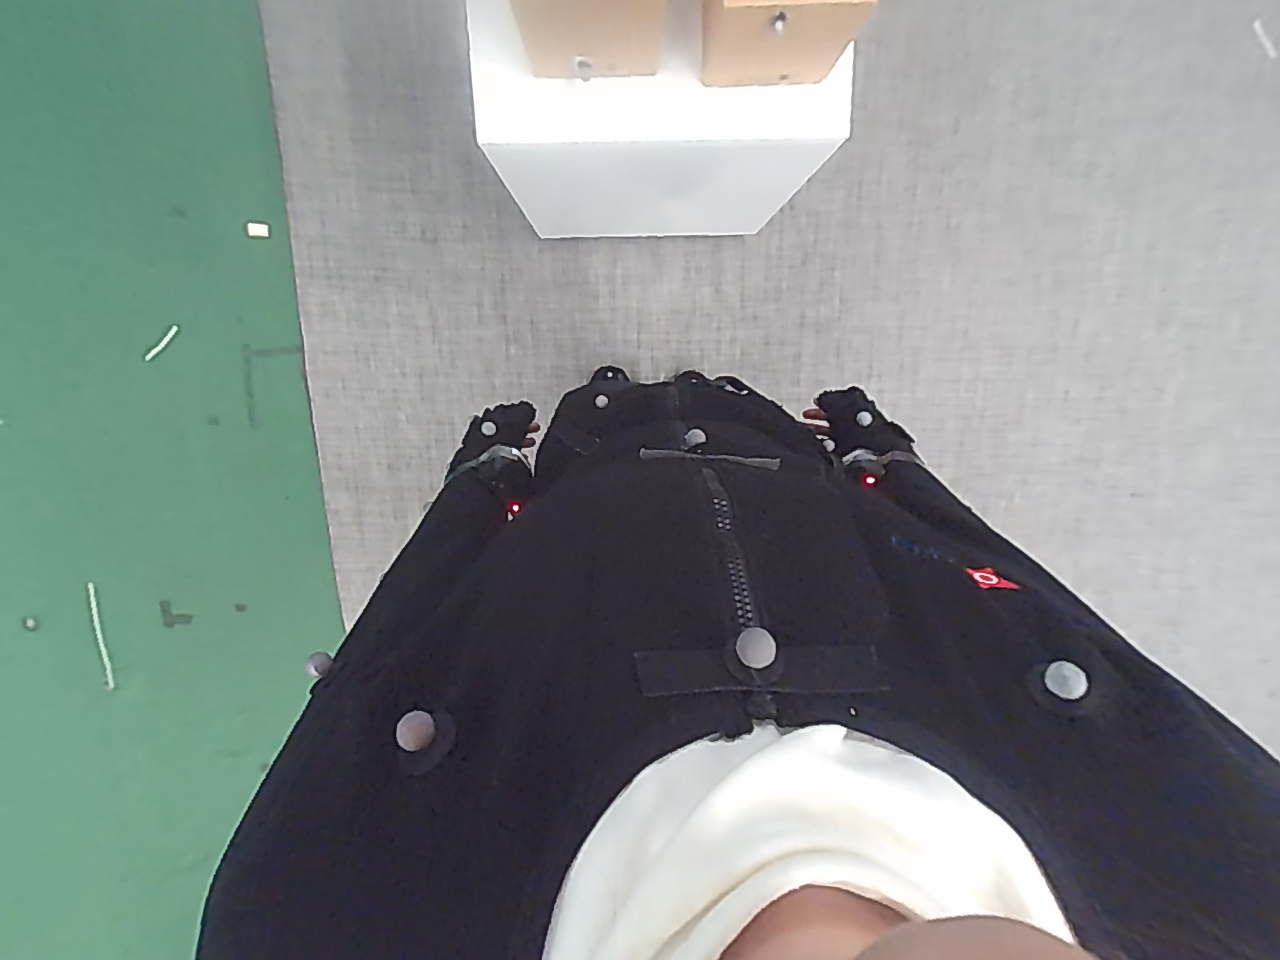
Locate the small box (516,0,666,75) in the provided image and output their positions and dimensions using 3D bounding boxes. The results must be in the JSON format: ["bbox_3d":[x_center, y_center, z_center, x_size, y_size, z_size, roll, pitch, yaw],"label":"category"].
[{"bbox_3d":[-0.059,-0.602,0.611,0.168,0.176,0.179,-3,103,0],"label":"small box"}]

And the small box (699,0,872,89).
[{"bbox_3d":[0.160,-0.598,0.630,0.168,0.176,0.179,-1,100,-1],"label":"small box"}]
